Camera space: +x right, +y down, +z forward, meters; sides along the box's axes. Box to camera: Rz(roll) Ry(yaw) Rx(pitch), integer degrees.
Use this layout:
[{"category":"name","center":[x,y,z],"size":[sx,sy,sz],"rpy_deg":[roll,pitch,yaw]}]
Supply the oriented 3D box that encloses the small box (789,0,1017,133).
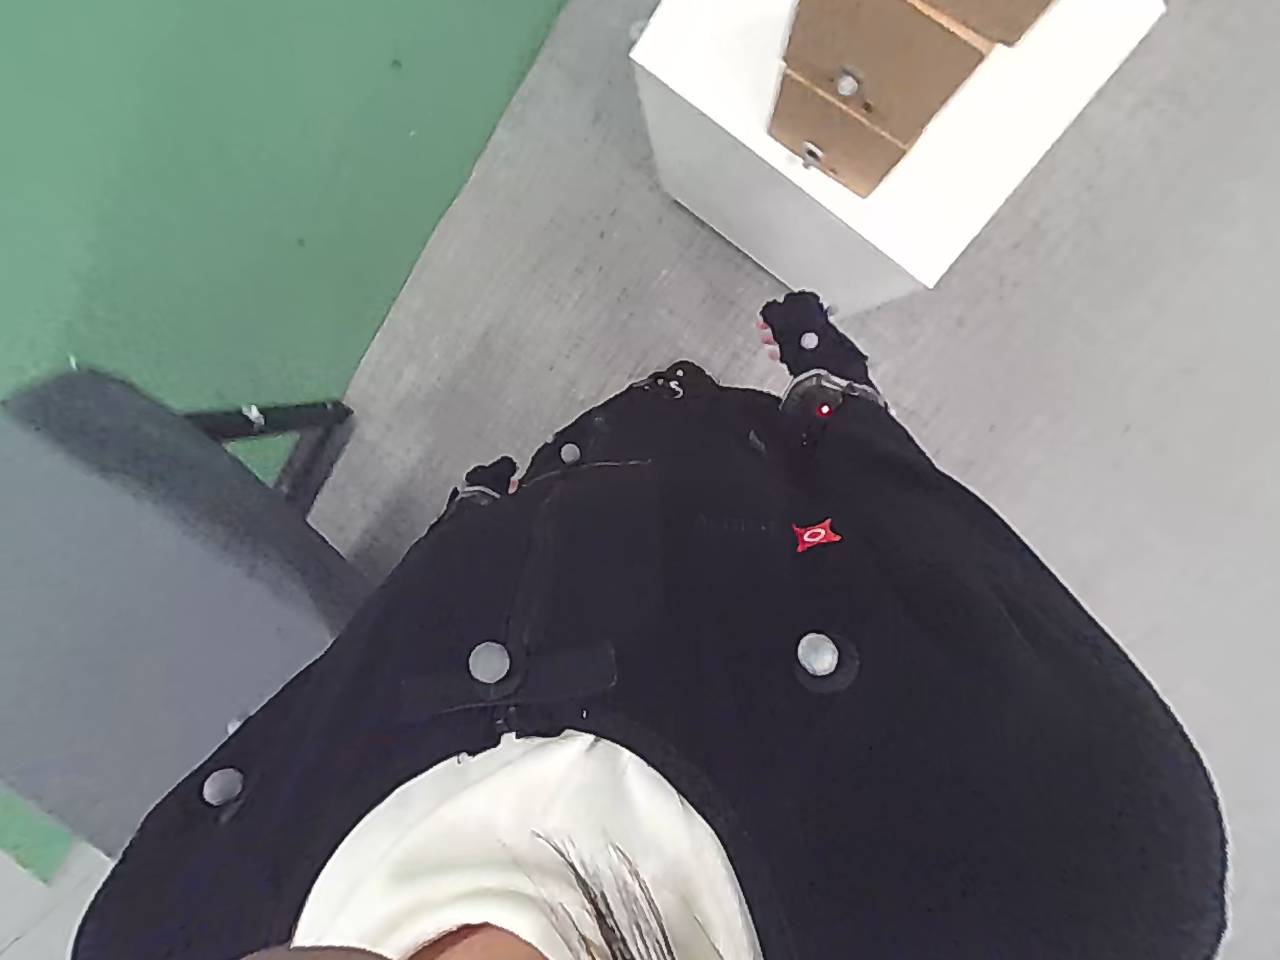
[{"category":"small box","center":[0.244,-0.443,0.450],"size":[0.168,0.176,0.179],"rpy_deg":[31,102,1]}]

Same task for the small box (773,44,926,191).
[{"category":"small box","center":[0.266,-0.469,0.610],"size":[0.168,0.176,0.179],"rpy_deg":[33,105,1]}]
